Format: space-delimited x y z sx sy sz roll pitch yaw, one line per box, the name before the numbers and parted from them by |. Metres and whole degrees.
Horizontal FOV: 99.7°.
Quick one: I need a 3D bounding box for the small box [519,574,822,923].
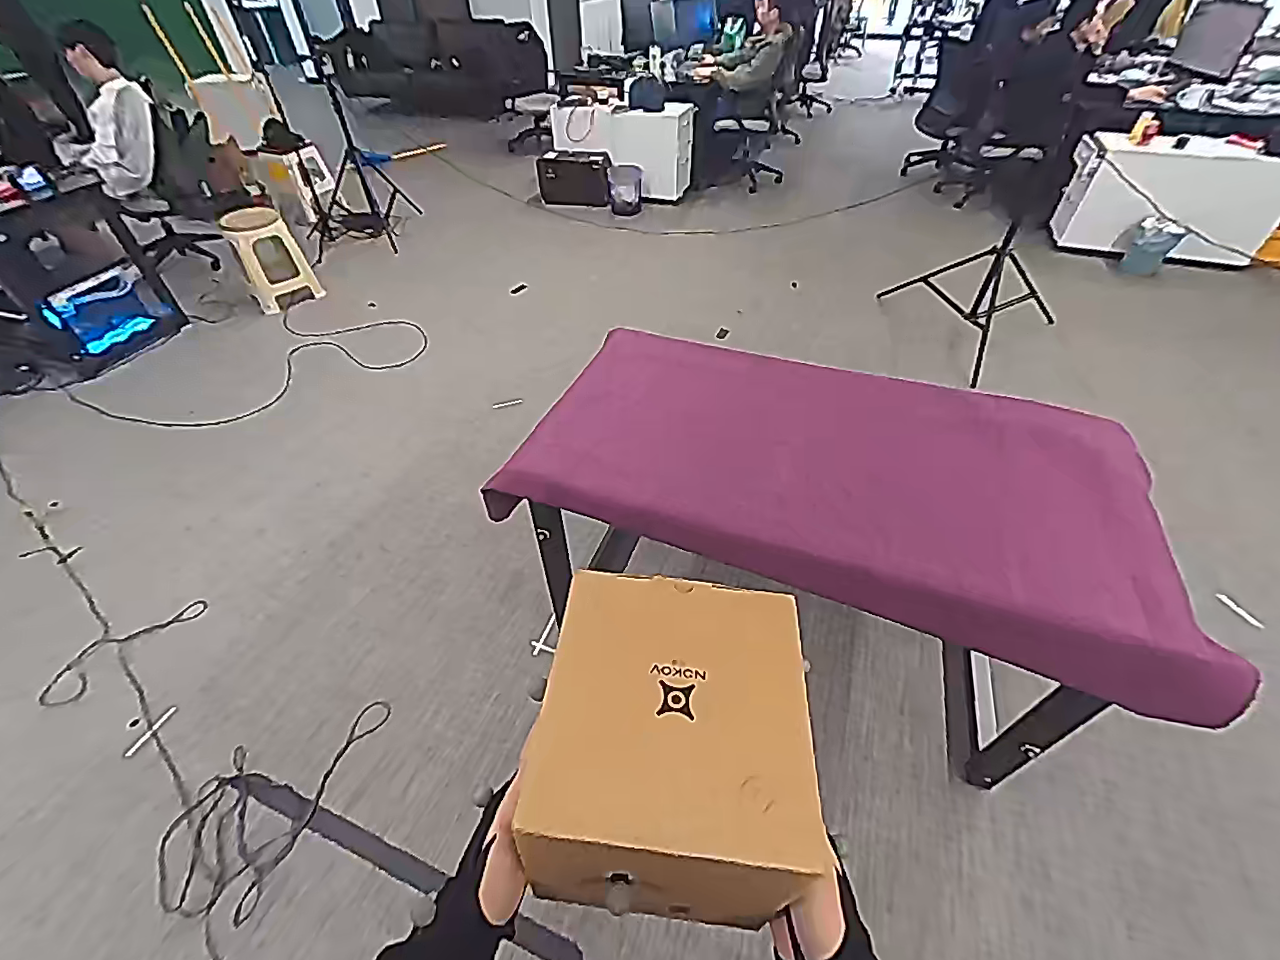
small box | 0.021 0.197 0.400 0.168 0.176 0.179 6 41 2
